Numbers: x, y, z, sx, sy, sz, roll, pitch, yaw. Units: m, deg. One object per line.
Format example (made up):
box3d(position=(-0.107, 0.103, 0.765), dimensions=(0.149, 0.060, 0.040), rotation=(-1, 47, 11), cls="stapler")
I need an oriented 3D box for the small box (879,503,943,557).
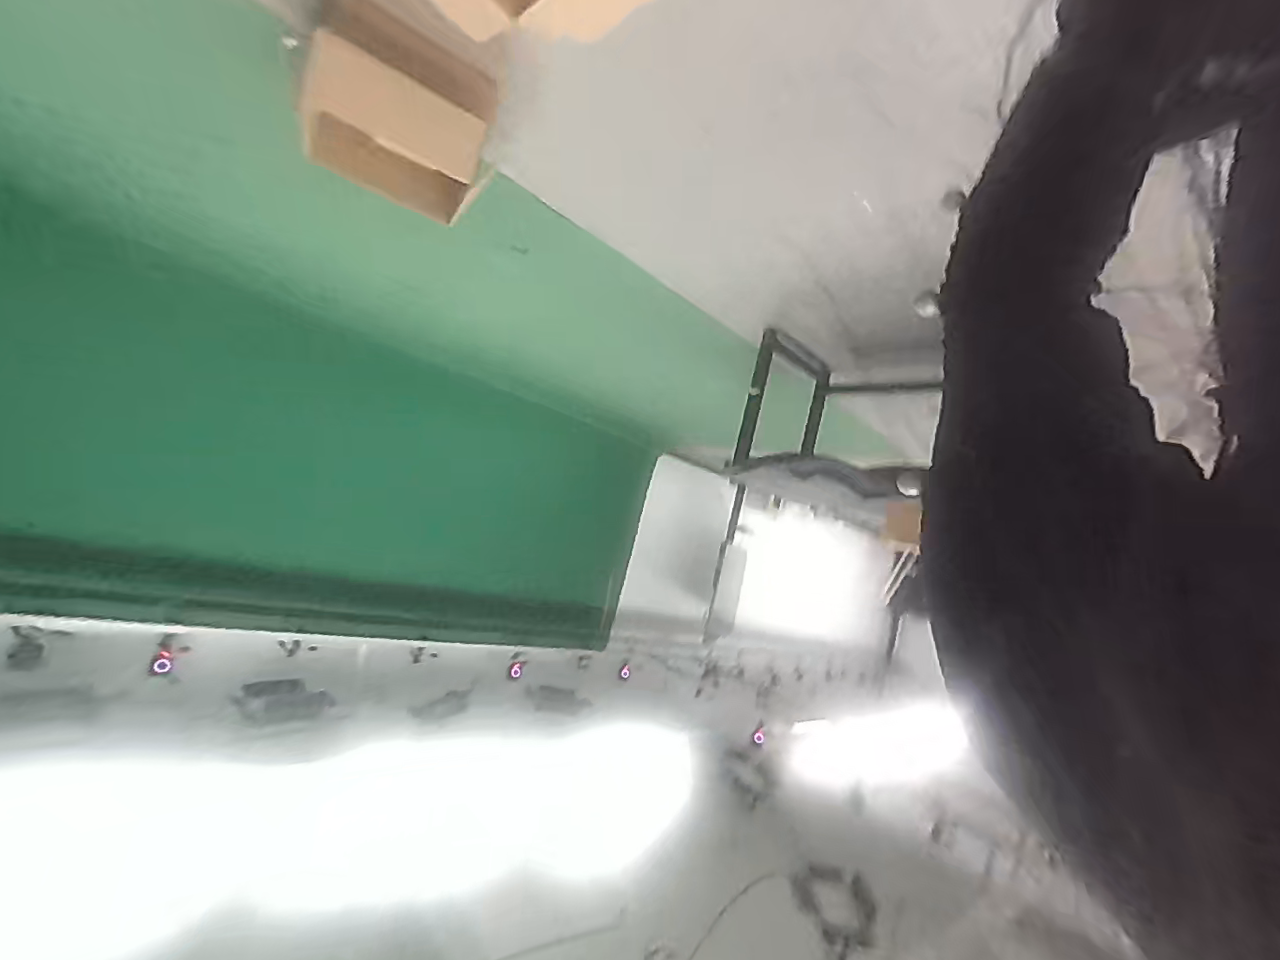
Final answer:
box3d(position=(1.067, 0.195, 2.126), dimensions=(0.179, 0.176, 0.168), rotation=(19, 174, -41), cls="small box")
